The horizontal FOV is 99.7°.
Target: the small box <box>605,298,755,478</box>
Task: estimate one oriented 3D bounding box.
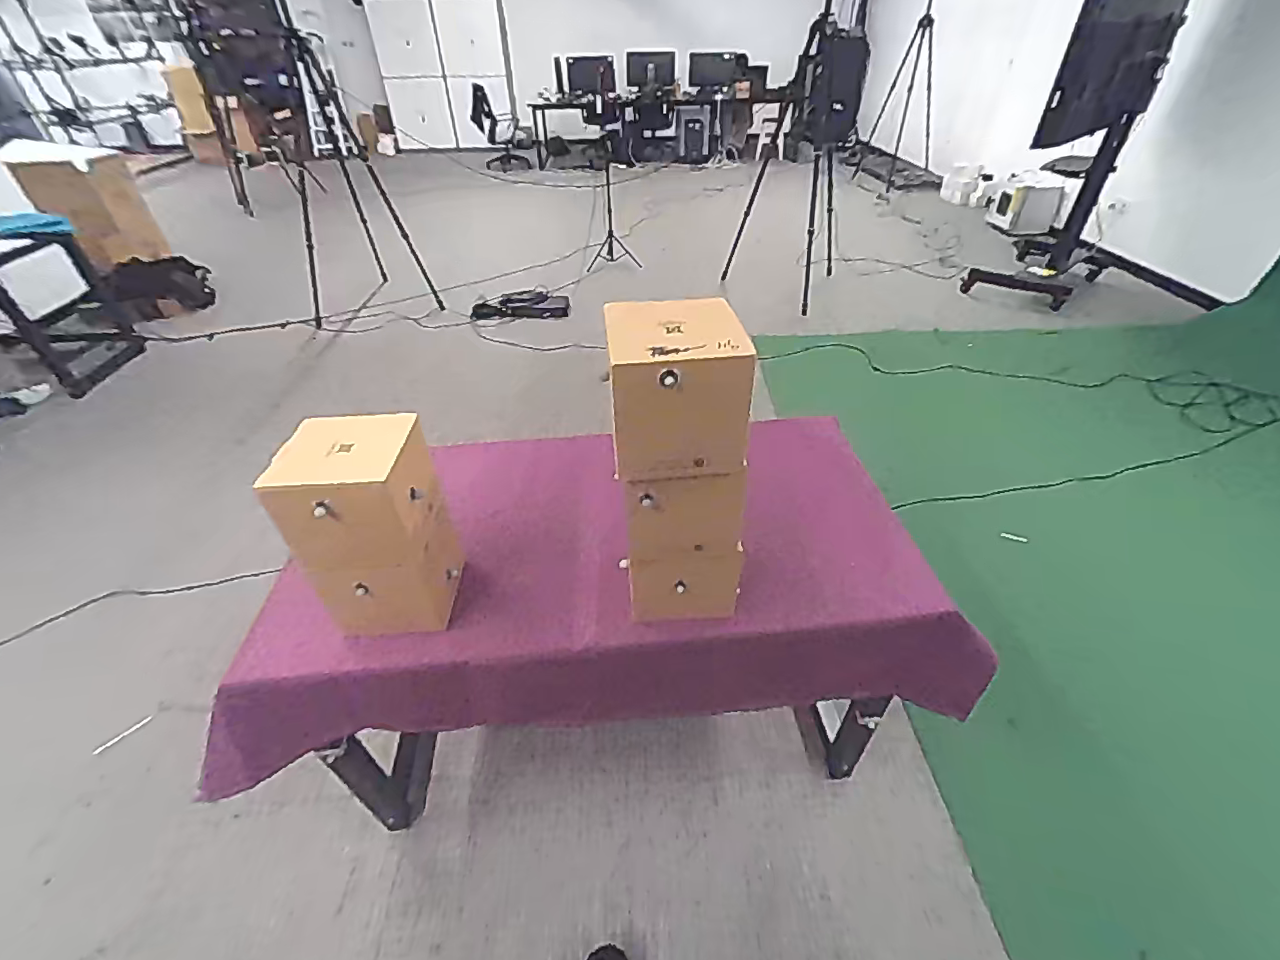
[{"bbox_3d":[0.042,-0.122,0.705,0.168,0.176,0.179,-5,39,-3],"label":"small box"}]

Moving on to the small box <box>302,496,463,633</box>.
[{"bbox_3d":[-0.419,0.144,0.916,0.179,0.176,0.168,-2,40,-1],"label":"small box"}]

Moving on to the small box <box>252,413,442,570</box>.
[{"bbox_3d":[-0.418,0.018,0.812,0.179,0.176,0.168,-4,40,-1],"label":"small box"}]

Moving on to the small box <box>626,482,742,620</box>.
[{"bbox_3d":[0.067,0.122,0.927,0.179,0.176,0.168,-4,40,-1],"label":"small box"}]
